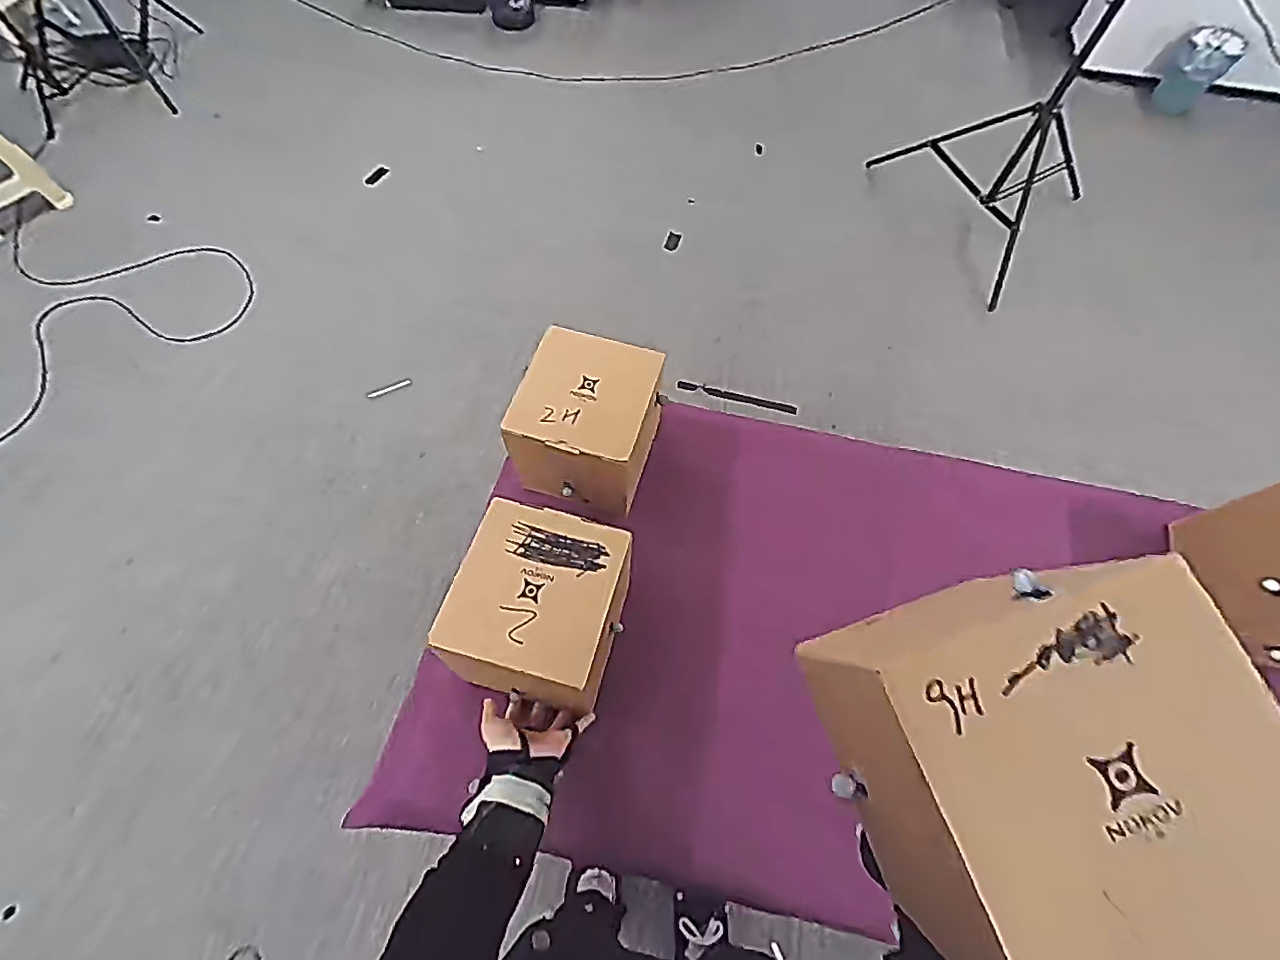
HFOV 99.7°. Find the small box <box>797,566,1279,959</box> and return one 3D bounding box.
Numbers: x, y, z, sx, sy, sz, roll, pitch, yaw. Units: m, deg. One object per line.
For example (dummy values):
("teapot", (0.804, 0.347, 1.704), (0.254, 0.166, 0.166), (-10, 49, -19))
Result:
("small box", (0.219, 0.164, 0.325), (0.168, 0.176, 0.179), (-19, 76, -4))

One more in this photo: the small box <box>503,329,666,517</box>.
("small box", (-0.070, -0.074, 0.759), (0.168, 0.176, 0.179), (16, 65, 6))

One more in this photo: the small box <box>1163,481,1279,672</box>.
("small box", (0.820, 0.129, 0.684), (0.168, 0.176, 0.179), (16, 67, 7))
